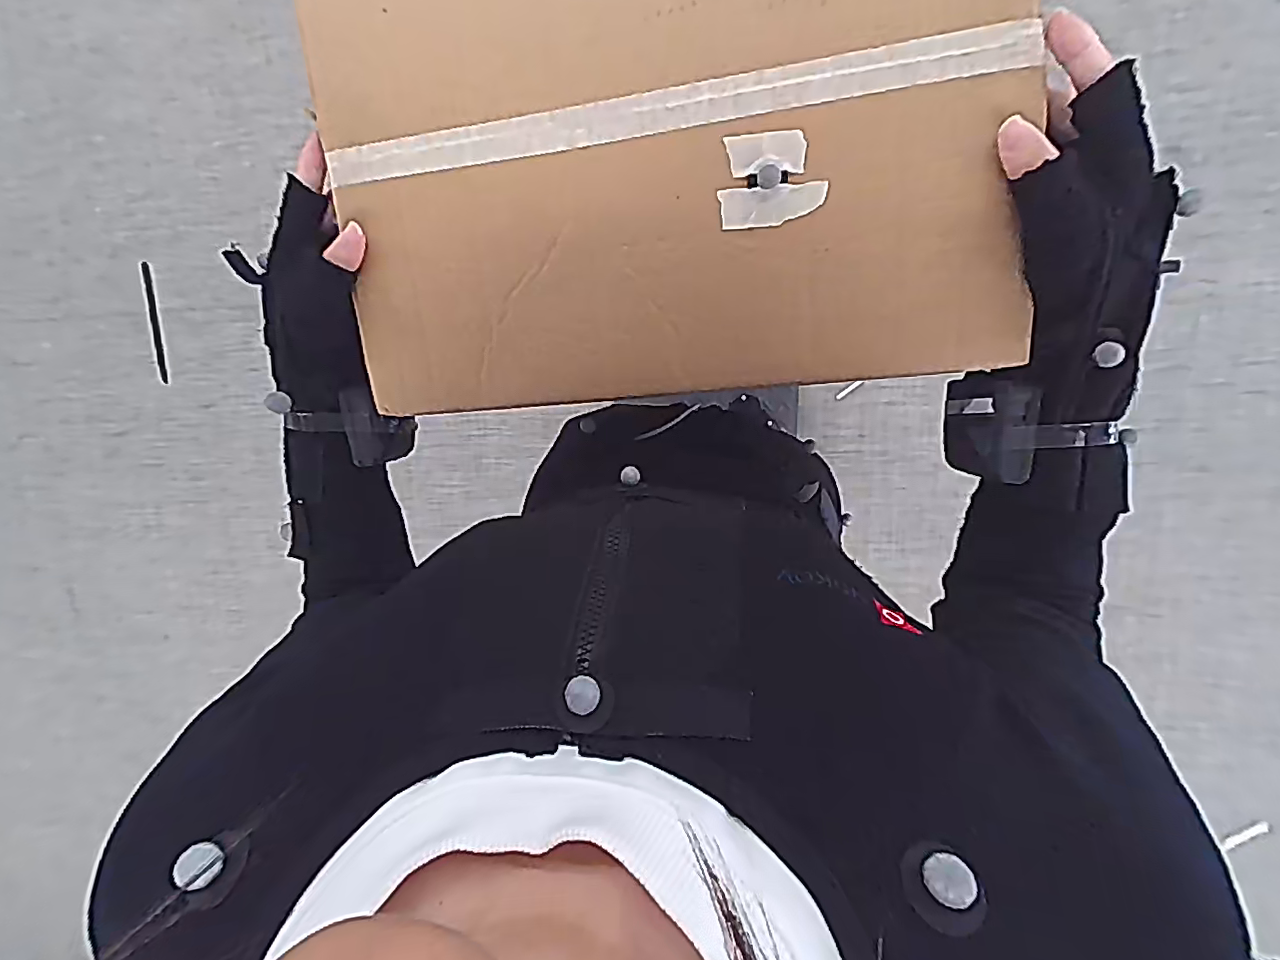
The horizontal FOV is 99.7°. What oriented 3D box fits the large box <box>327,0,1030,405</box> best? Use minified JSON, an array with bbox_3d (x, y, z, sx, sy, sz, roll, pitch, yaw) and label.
[{"bbox_3d":[0.031,-0.246,0.462,0.408,0.320,0.320,-3,102,10],"label":"large box"}]
